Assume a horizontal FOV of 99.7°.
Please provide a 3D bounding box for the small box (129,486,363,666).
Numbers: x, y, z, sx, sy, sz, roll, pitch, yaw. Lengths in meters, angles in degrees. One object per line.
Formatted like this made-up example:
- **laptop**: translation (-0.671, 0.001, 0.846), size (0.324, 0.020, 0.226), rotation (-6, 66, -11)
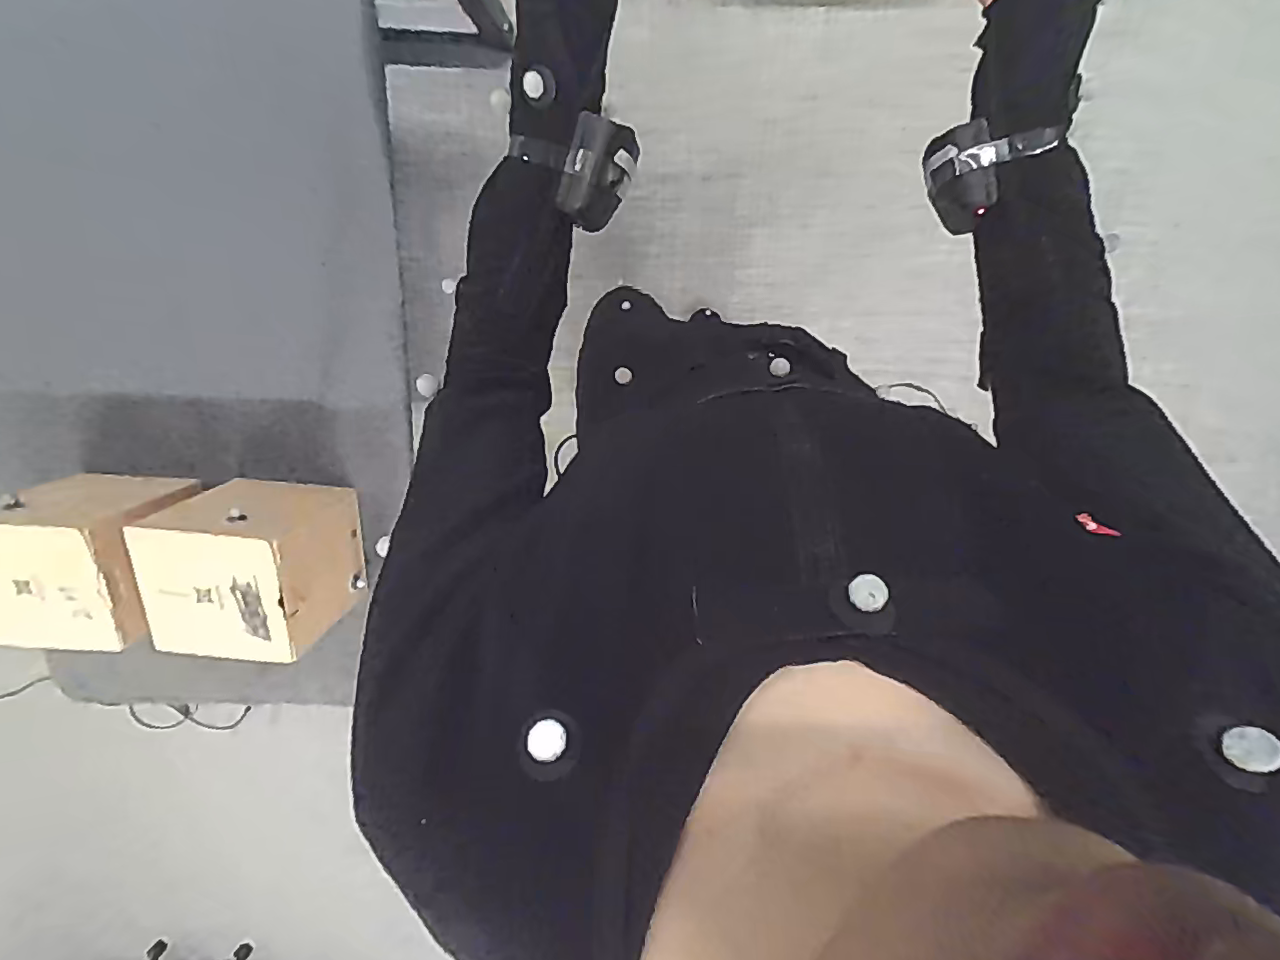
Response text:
- **small box**: translation (-0.483, 0.114, 0.699), size (0.179, 0.176, 0.168), rotation (5, 108, 3)

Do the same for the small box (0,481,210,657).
- **small box**: translation (-0.699, 0.105, 0.704), size (0.179, 0.176, 0.168), rotation (3, 109, 1)
